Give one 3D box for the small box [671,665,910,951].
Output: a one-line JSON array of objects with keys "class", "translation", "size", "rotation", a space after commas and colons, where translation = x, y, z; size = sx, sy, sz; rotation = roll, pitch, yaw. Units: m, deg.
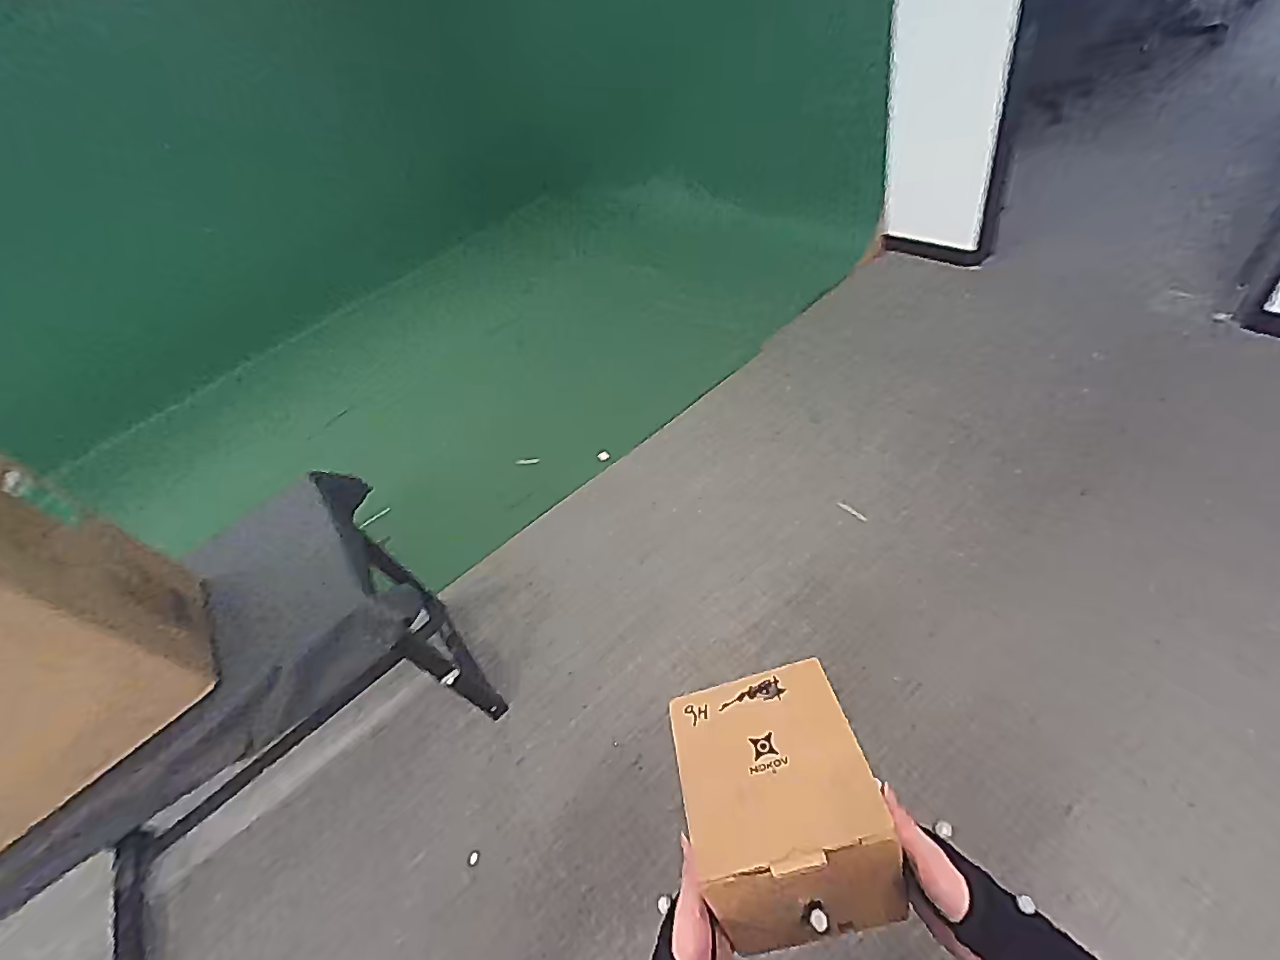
[{"class": "small box", "translation": [0.143, 0.322, 0.529], "size": [0.168, 0.176, 0.179], "rotation": [-19, 32, 6]}]
